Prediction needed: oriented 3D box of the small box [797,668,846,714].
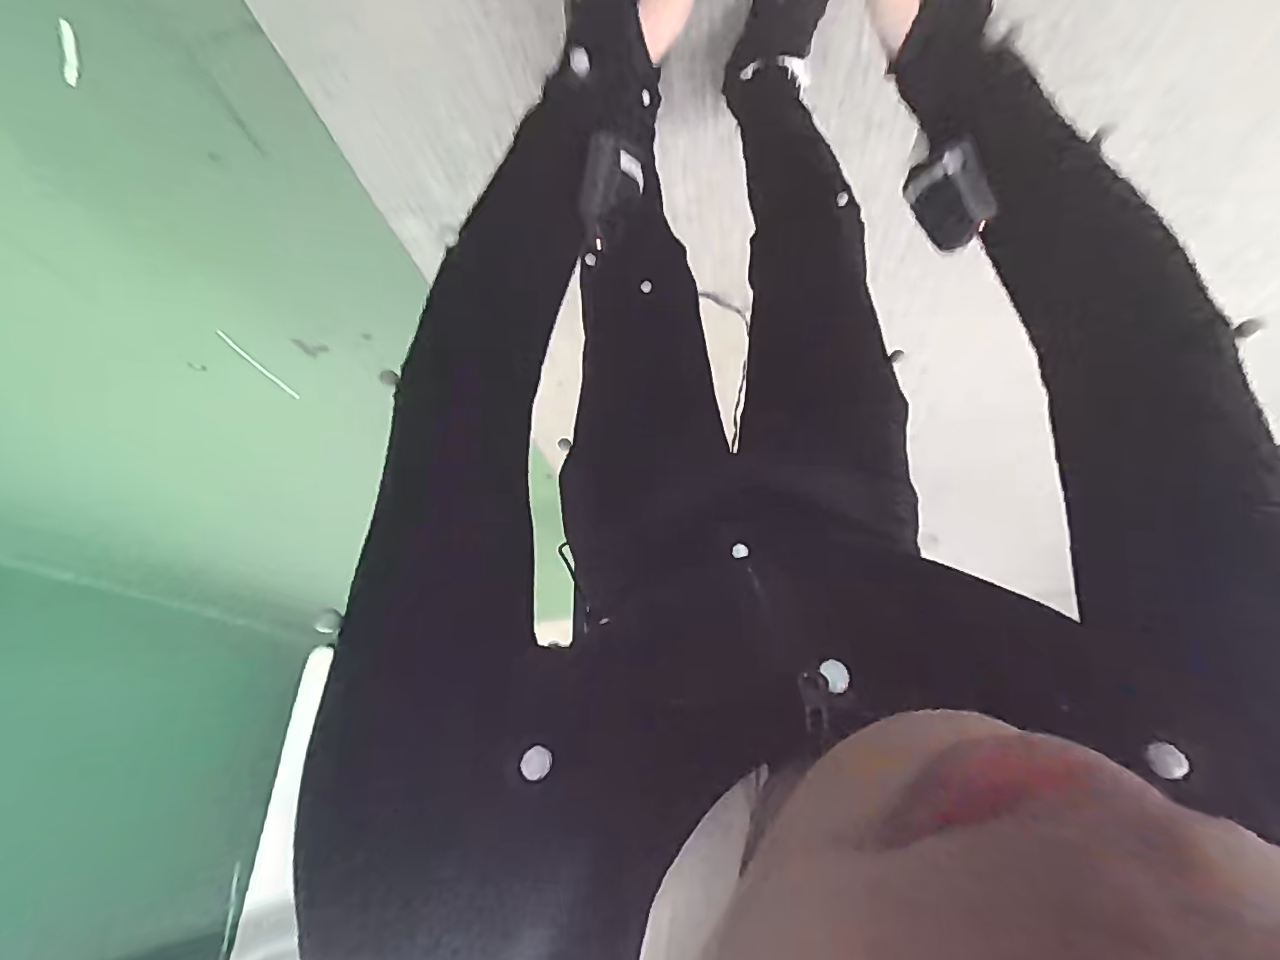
[{"bbox_3d":[0.763,0.893,2.294,0.168,0.176,0.179,-5,152,9],"label":"small box"}]
